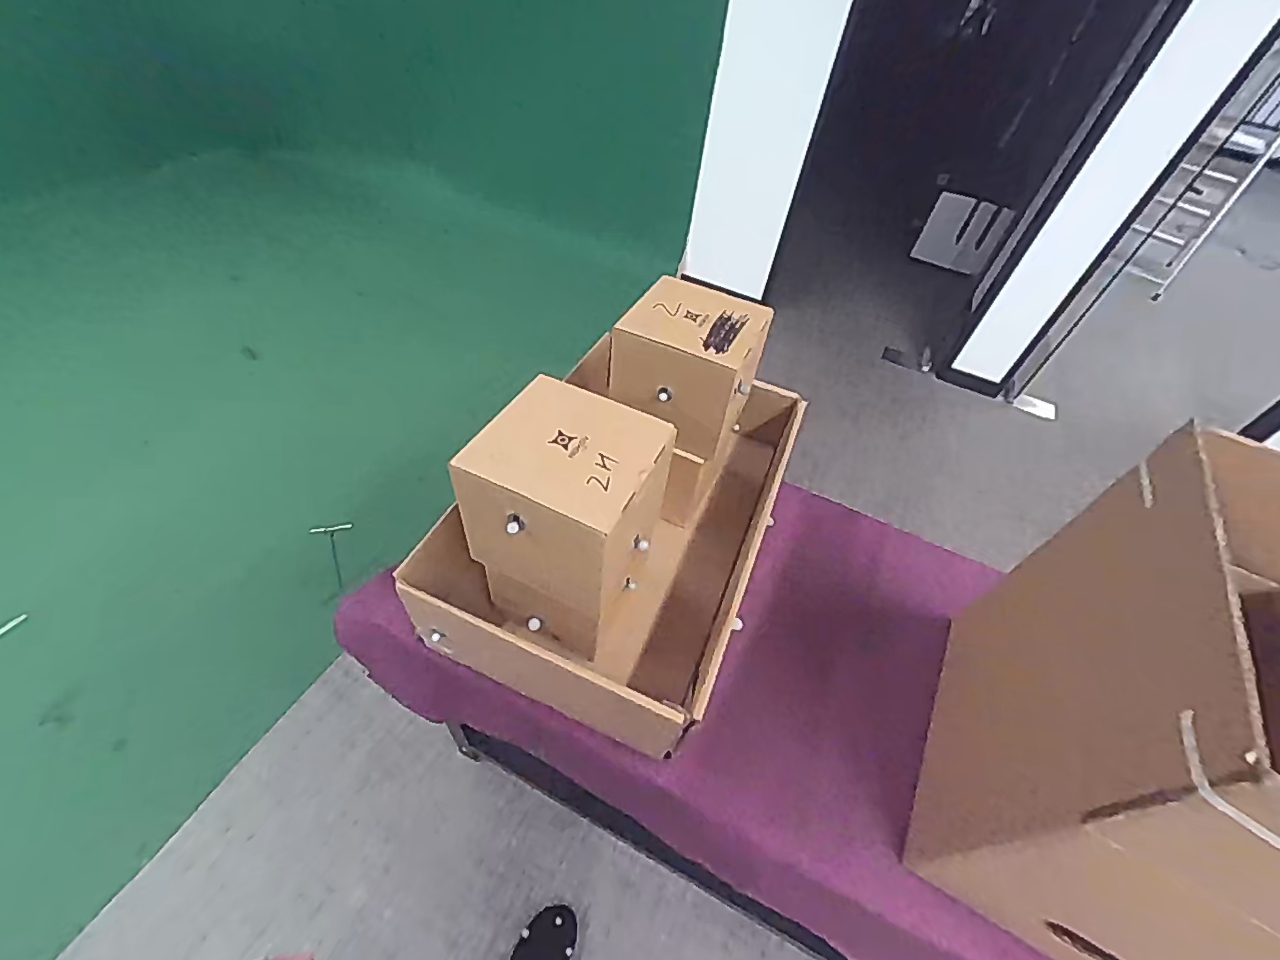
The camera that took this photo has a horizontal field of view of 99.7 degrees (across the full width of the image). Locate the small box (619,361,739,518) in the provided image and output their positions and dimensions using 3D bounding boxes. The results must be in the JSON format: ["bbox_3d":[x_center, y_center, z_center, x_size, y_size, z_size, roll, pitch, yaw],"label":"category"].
[{"bbox_3d":[0.049,-0.066,0.917,0.168,0.176,0.179,23,51,13],"label":"small box"}]

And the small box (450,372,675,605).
[{"bbox_3d":[-0.081,0.013,0.612,0.179,0.176,0.168,23,51,13],"label":"small box"}]
